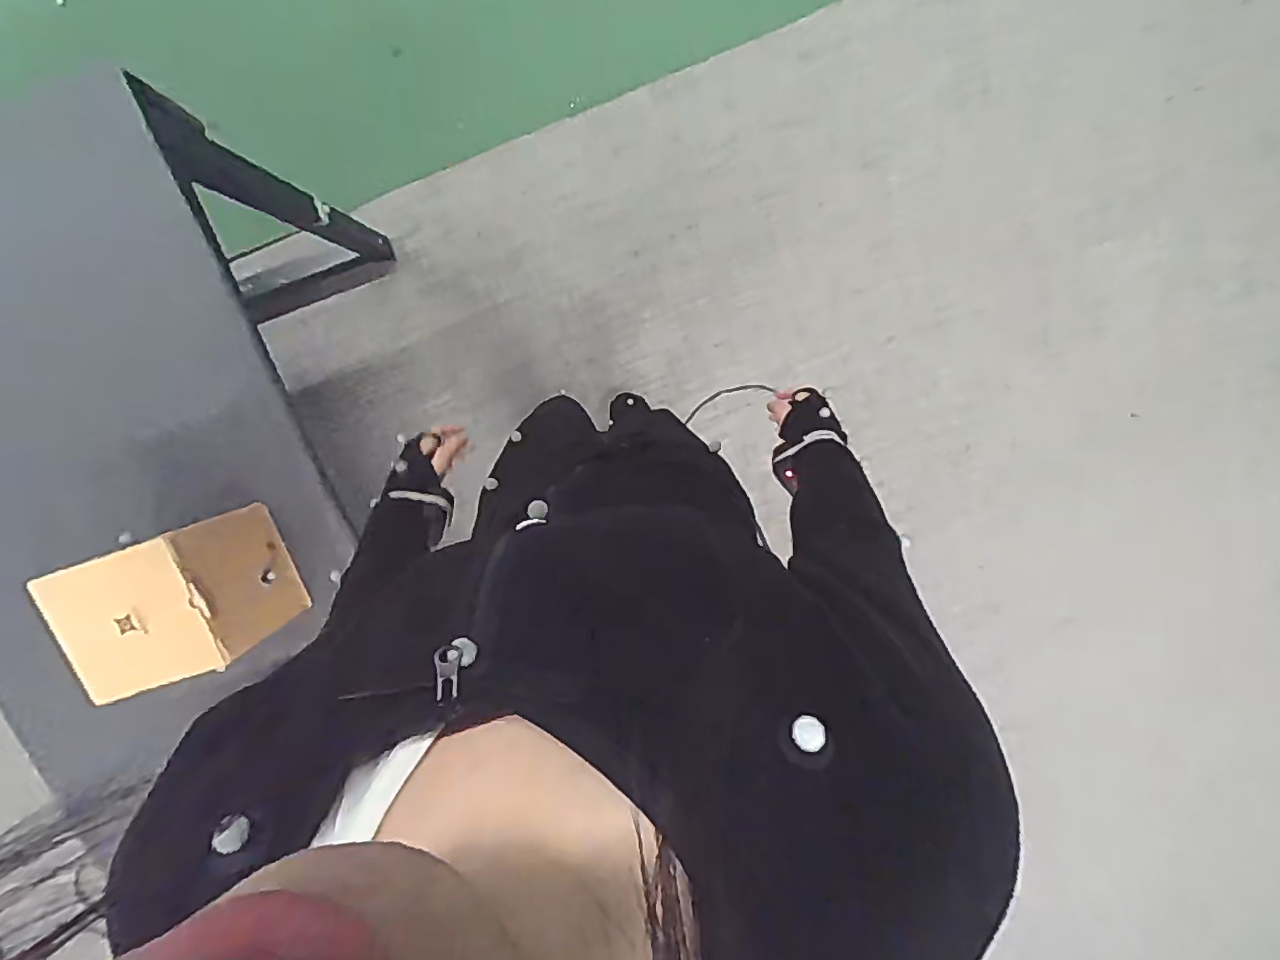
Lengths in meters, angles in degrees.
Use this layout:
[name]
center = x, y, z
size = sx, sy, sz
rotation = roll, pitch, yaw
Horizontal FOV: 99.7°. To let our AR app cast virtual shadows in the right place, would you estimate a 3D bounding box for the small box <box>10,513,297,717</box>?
[small box]
center = -0.585, 0.156, 0.678
size = 0.179, 0.176, 0.168
rotation = -19, 100, 1
